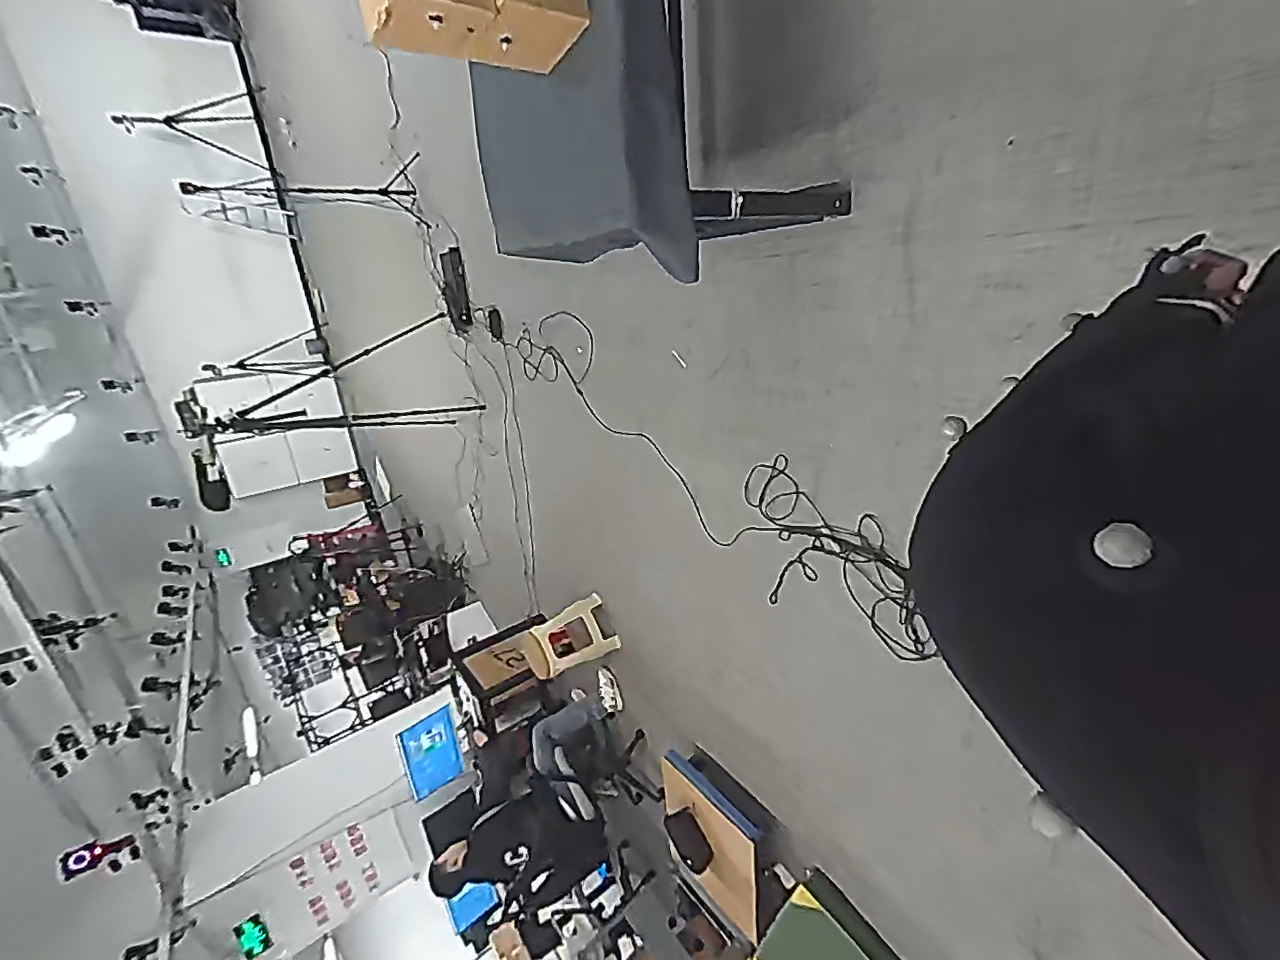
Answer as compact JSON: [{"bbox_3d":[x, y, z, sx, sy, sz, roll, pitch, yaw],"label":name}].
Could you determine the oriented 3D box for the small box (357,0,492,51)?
[{"bbox_3d":[-0.353,-0.822,0.860,0.168,0.176,0.179,12,115,51],"label":"small box"}]

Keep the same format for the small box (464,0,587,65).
[{"bbox_3d":[-0.215,-0.861,0.939,0.179,0.176,0.168,6,112,53],"label":"small box"}]
